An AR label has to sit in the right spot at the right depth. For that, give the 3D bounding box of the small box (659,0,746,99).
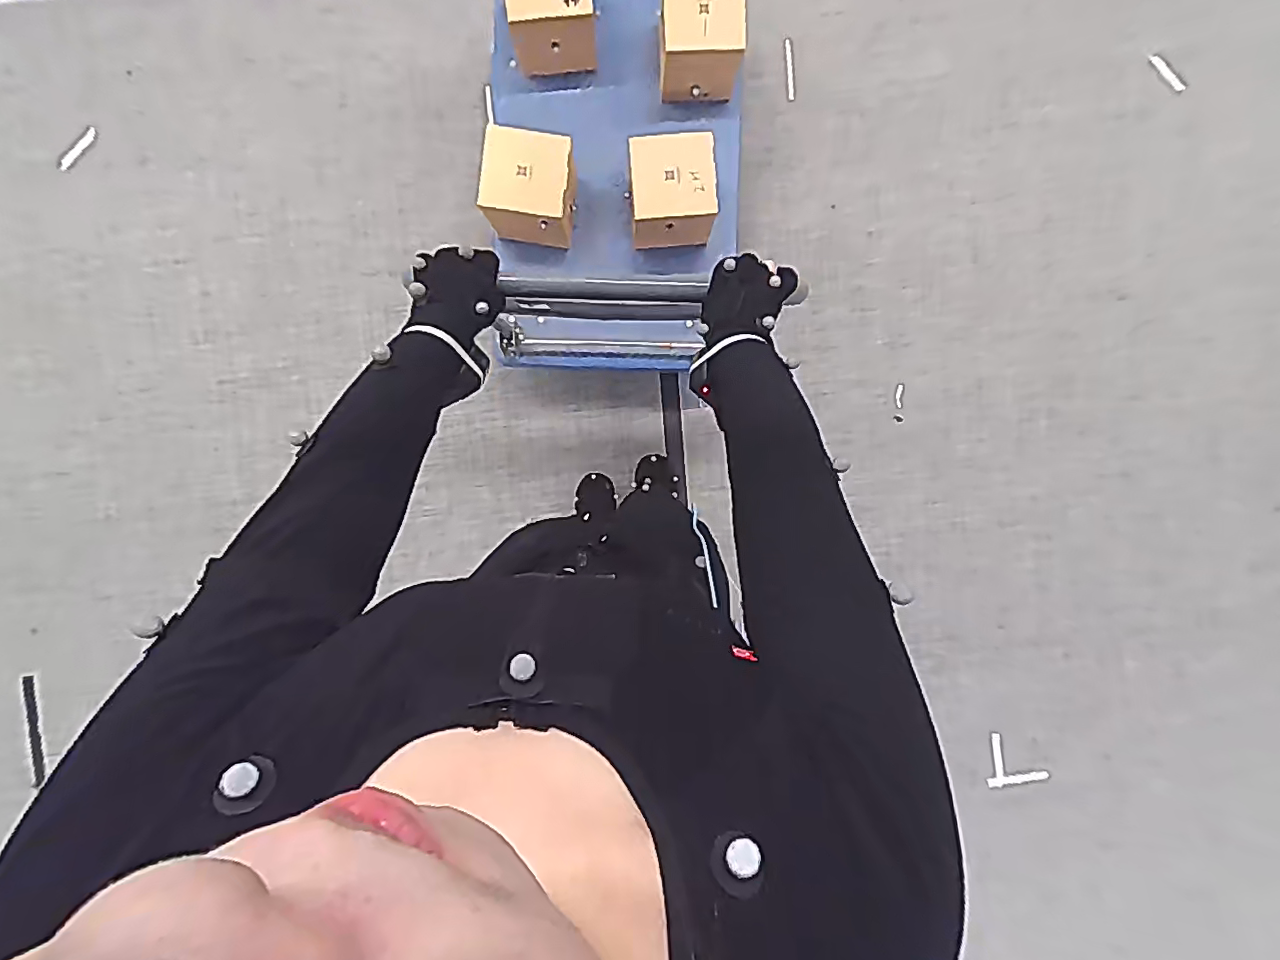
[{"bbox_3d":[0.128,-0.959,1.156,0.168,0.176,0.179,-2,95,0],"label":"small box"}]

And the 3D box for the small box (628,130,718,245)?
[{"bbox_3d":[0.068,-0.626,1.178,0.179,0.176,0.168,-5,94,-1],"label":"small box"}]

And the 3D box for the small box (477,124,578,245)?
[{"bbox_3d":[-0.236,-0.630,1.173,0.179,0.176,0.168,7,93,-3],"label":"small box"}]
